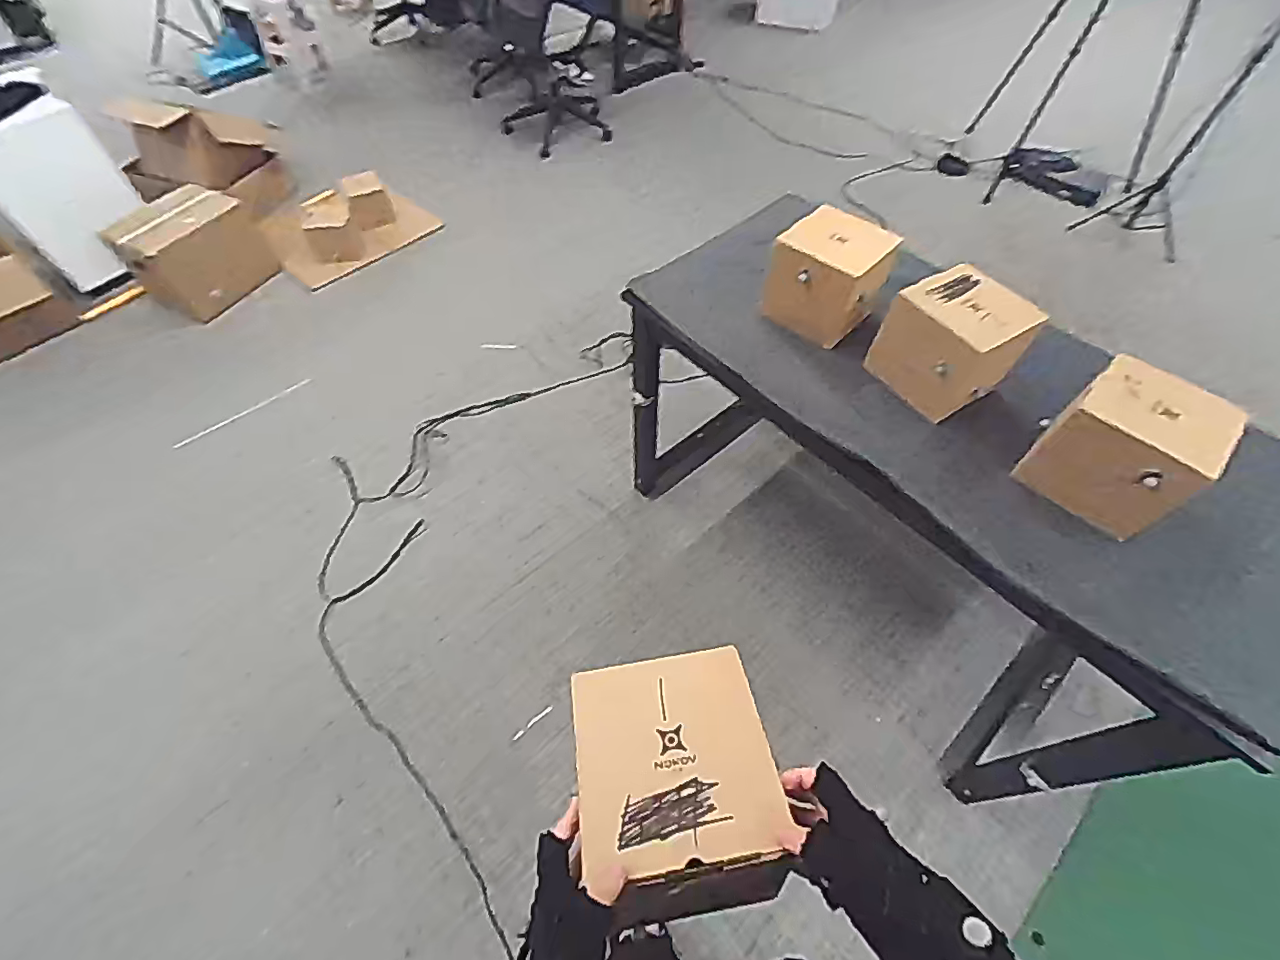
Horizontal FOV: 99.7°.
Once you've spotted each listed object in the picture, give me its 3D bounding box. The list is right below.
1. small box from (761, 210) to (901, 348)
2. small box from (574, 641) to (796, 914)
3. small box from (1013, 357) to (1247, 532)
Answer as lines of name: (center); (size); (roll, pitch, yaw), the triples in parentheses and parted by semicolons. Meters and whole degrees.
small box: (0.363, -0.386, 1.059); (0.179, 0.176, 0.168); (37, 63, 23)
small box: (0.032, 0.284, 0.513); (0.168, 0.176, 0.179); (-8, 41, -4)
small box: (0.723, -0.044, 0.816); (0.168, 0.176, 0.179); (-38, 63, -24)
